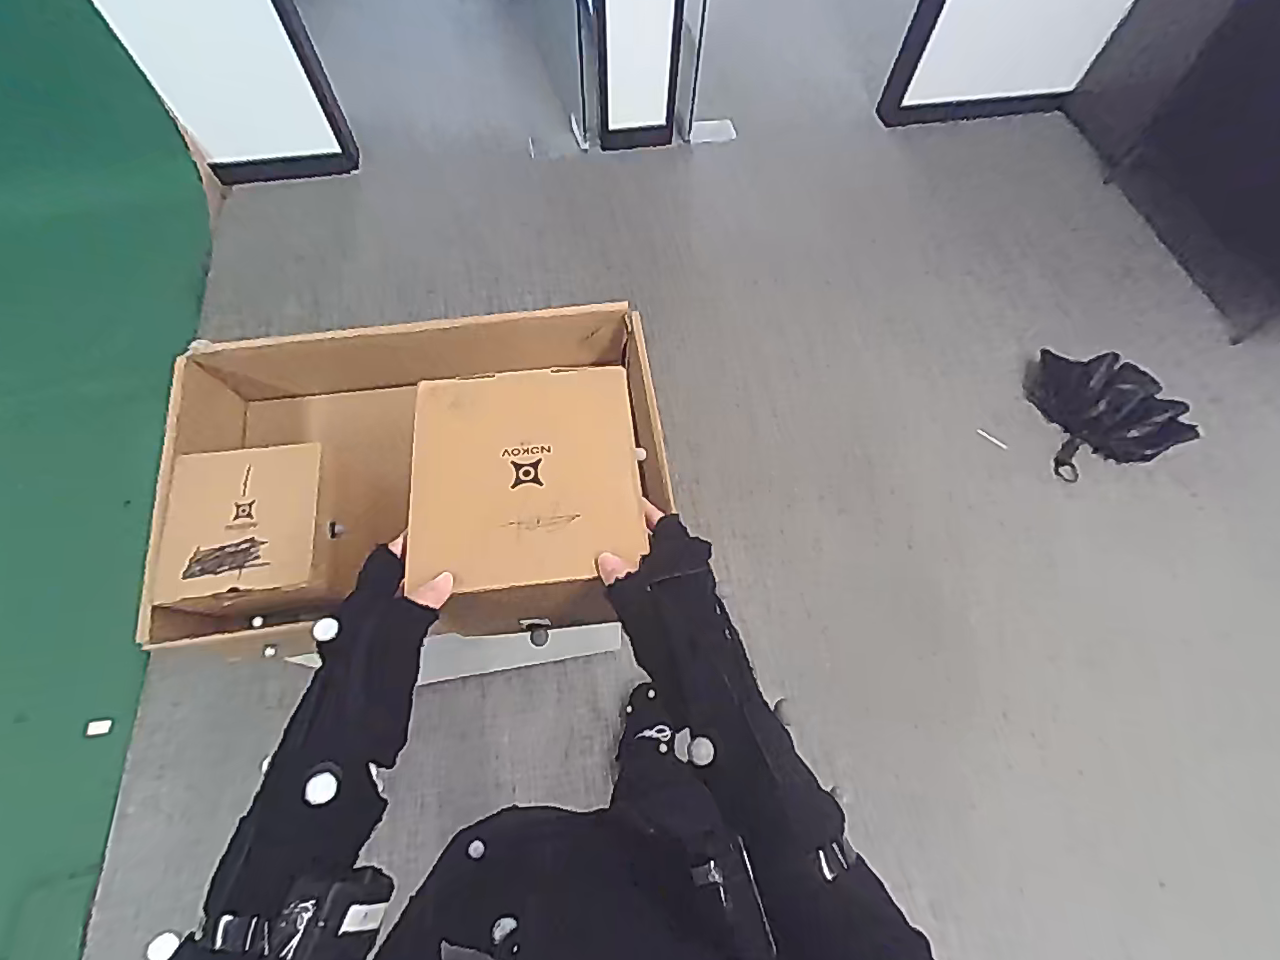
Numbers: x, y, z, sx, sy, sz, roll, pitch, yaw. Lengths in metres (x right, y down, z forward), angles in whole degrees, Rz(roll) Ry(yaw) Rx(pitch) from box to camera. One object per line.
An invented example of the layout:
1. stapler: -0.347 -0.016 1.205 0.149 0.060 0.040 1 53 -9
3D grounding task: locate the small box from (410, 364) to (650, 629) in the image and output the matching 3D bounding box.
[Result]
1. small box: -0.086 0.021 0.476 0.168 0.176 0.179 -5 65 -5
